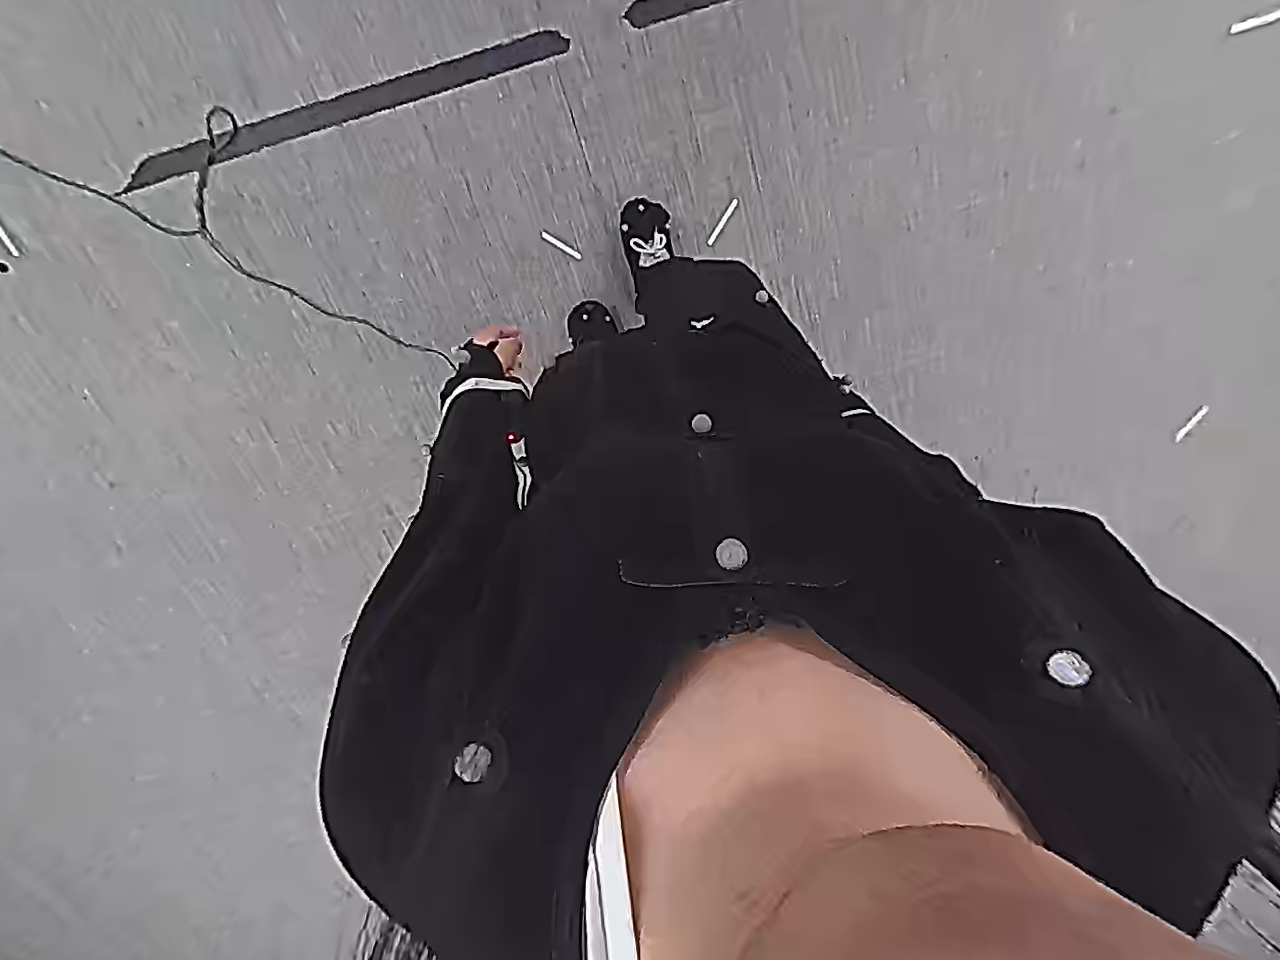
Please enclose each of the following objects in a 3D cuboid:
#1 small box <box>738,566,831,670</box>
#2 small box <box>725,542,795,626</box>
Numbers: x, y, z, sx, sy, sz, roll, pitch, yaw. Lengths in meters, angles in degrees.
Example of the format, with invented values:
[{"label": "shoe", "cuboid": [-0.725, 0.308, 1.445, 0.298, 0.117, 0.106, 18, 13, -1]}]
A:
[{"label": "small box", "cuboid": [0.379, 0.362, 1.436, 0.168, 0.176, 0.179, -23, 112, 3]}, {"label": "small box", "cuboid": [0.363, 0.302, 1.589, 0.168, 0.176, 0.179, -22, 111, 3]}]
